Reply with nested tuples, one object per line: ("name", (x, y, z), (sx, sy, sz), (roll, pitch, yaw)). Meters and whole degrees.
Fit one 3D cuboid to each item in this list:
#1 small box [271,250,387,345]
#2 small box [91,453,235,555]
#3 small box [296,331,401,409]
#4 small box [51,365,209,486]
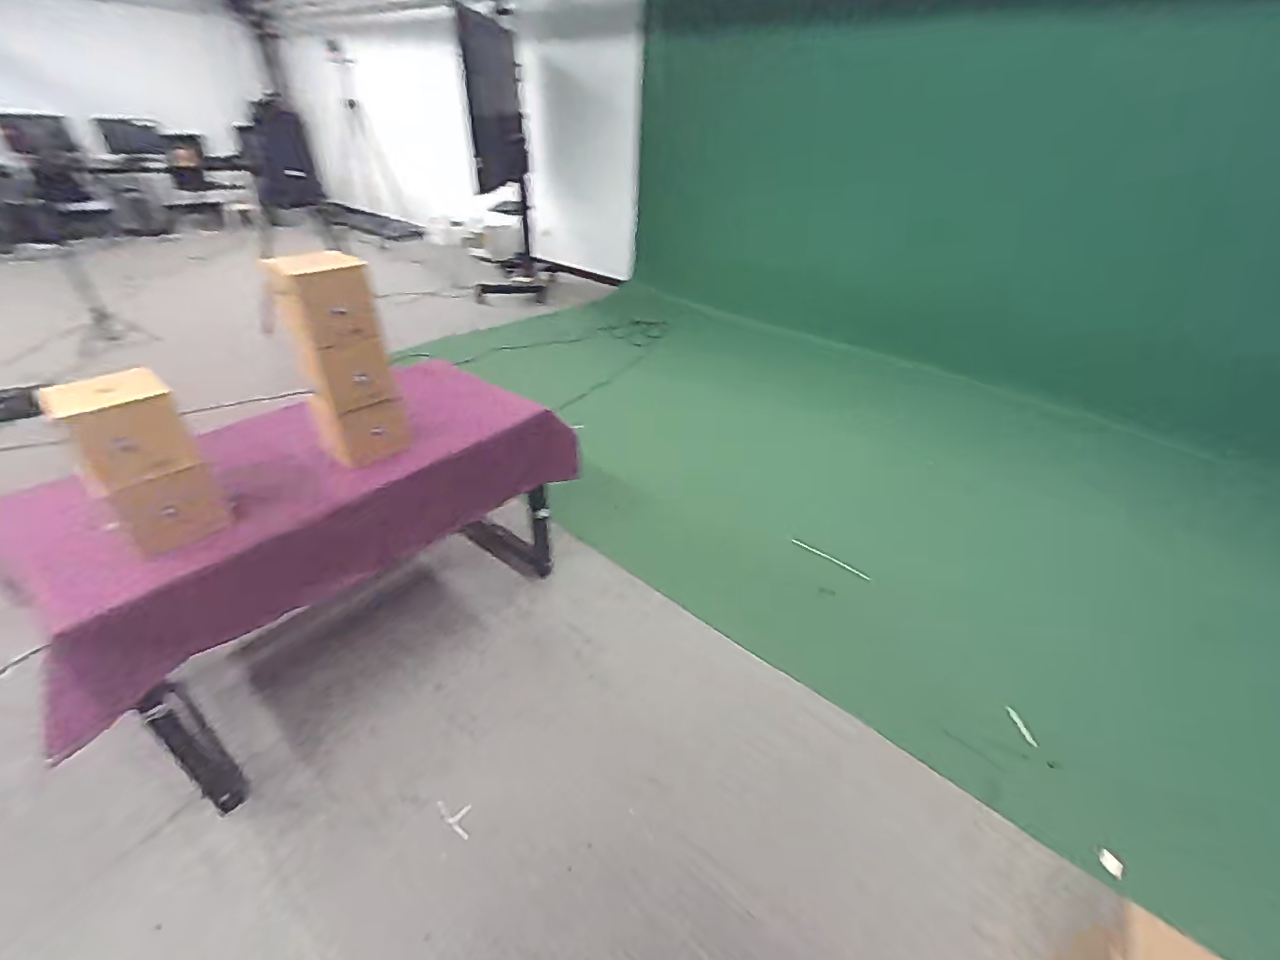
("small box", (-0.728, -0.431, 1.280), (0.179, 0.176, 0.168), (29, 42, 34))
("small box", (-1.016, 0.029, 1.168), (0.168, 0.176, 0.179), (27, 41, 31))
("small box", (-0.734, -0.295, 1.375), (0.179, 0.176, 0.168), (31, 43, 34))
("small box", (-1.009, -0.108, 1.080), (0.179, 0.176, 0.168), (27, 41, 33))
